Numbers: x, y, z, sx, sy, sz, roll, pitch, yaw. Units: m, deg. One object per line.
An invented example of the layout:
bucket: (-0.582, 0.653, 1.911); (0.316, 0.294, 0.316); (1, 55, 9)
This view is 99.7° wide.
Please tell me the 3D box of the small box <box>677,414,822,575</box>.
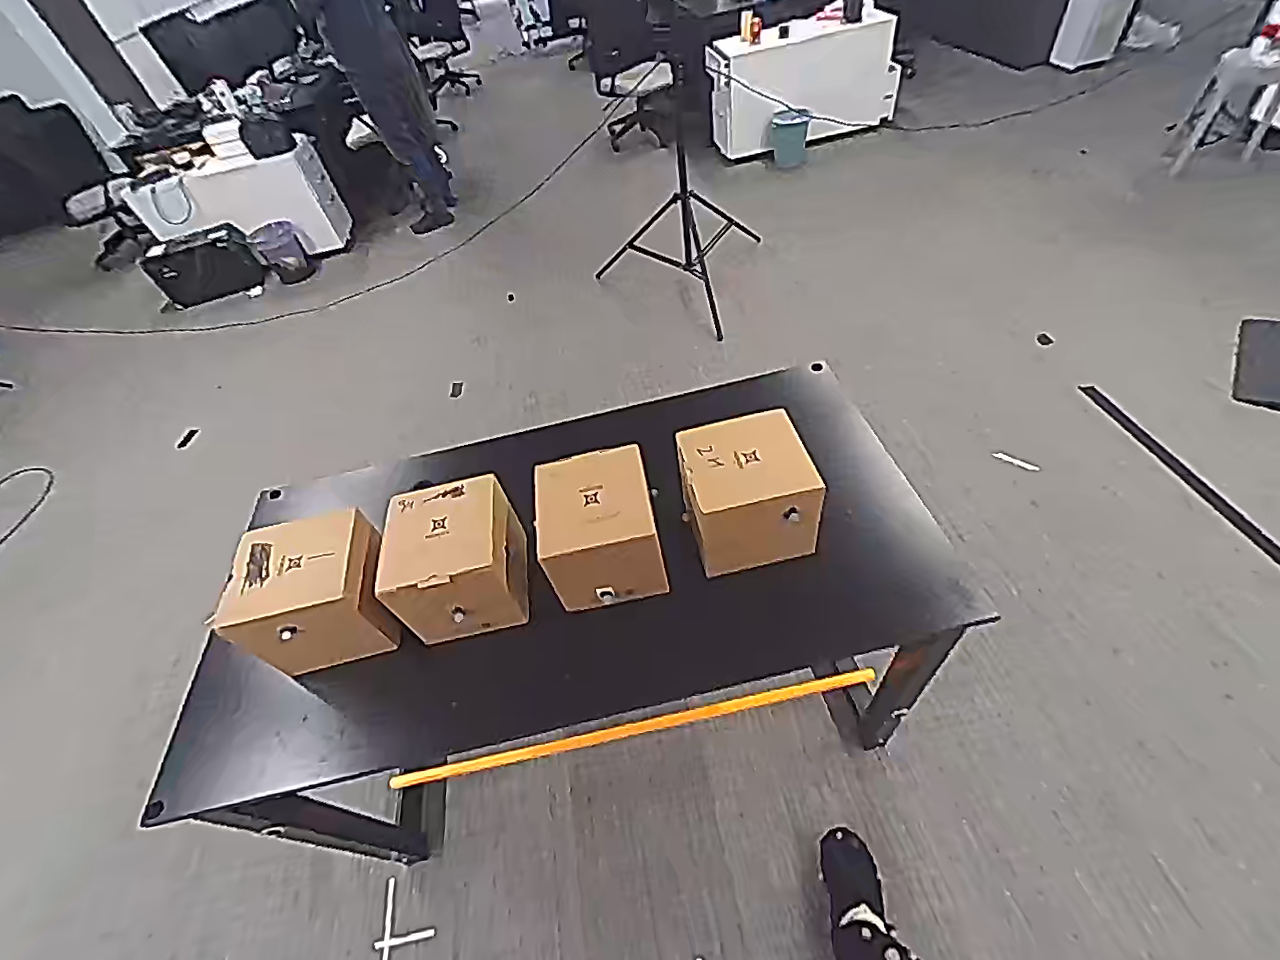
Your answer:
small box: (0.163, 0.026, 0.849); (0.179, 0.176, 0.168); (-13, 48, 0)

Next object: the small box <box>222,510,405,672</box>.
small box: (-0.487, 0.178, 0.845); (0.179, 0.176, 0.168); (-14, 49, -3)

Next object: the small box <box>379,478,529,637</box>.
small box: (-0.277, 0.129, 0.848); (0.168, 0.176, 0.179); (-13, 49, 0)
